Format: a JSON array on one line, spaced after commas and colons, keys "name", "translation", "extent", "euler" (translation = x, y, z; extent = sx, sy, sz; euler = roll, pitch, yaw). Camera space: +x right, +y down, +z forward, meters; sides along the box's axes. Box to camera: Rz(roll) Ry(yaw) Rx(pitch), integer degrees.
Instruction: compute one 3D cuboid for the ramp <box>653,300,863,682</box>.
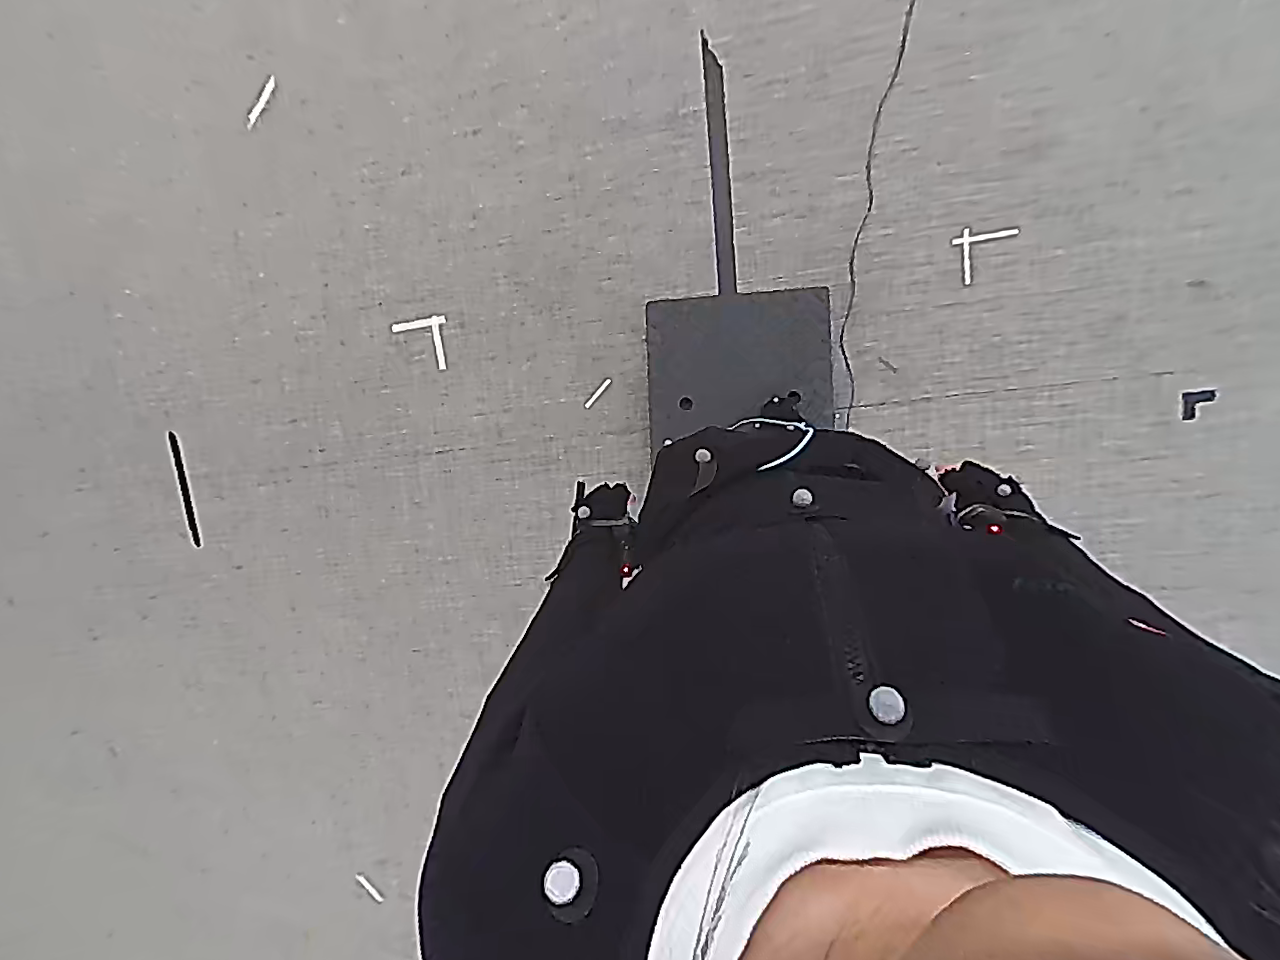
[{"name": "ramp", "translation": [0.299, 0.029, 1.453], "extent": [0.509, 0.206, 0.991], "euler": [-5, 95, 11]}]
